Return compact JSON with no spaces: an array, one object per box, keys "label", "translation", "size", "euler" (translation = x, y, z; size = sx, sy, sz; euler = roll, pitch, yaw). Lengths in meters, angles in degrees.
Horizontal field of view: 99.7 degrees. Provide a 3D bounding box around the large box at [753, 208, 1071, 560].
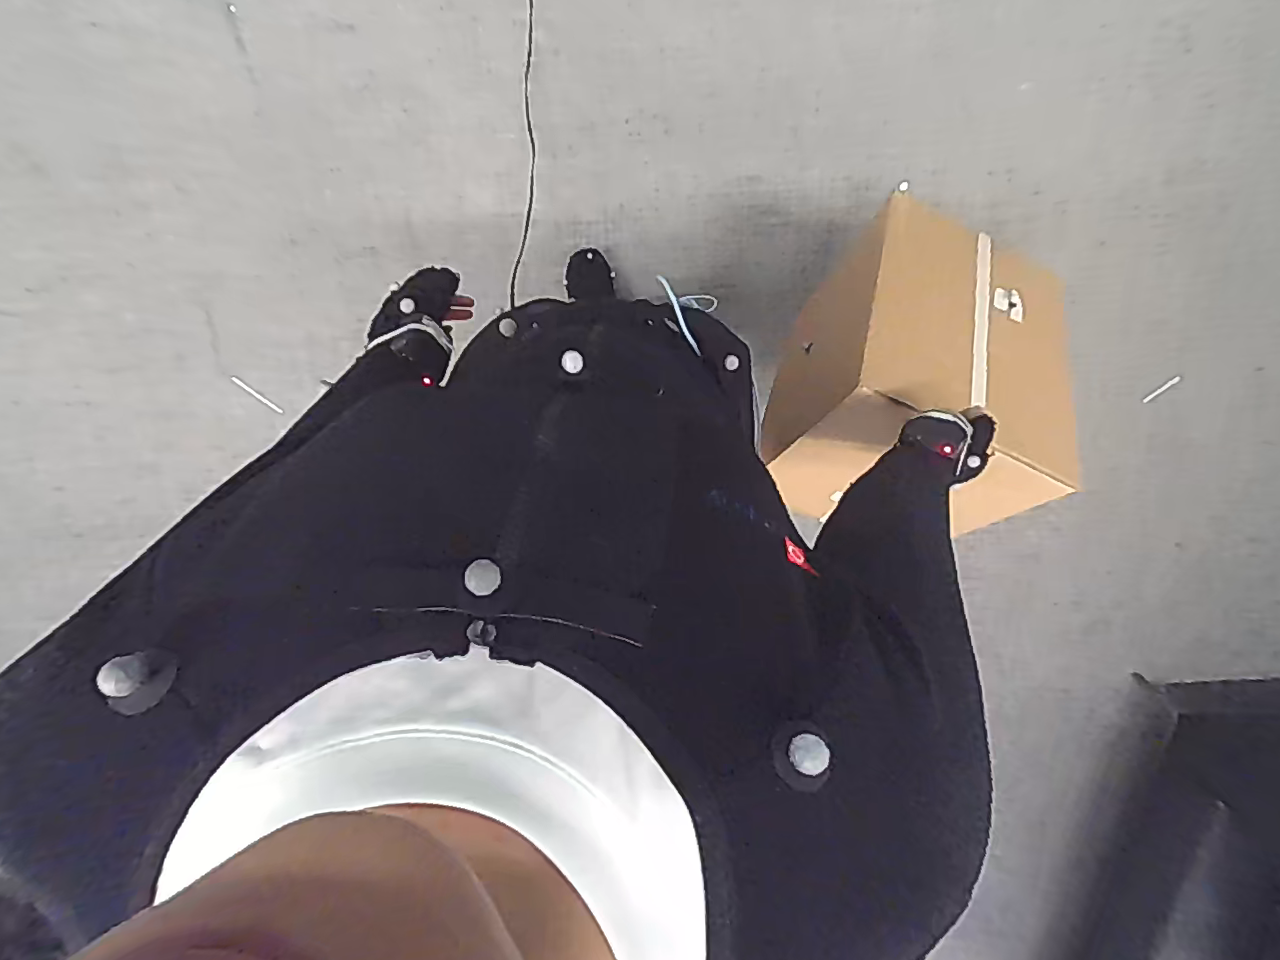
[{"label":"large box","translation":[0.421,-0.137,0.884],"size":[0.320,0.408,0.320],"euler":[25,151,-6]}]
